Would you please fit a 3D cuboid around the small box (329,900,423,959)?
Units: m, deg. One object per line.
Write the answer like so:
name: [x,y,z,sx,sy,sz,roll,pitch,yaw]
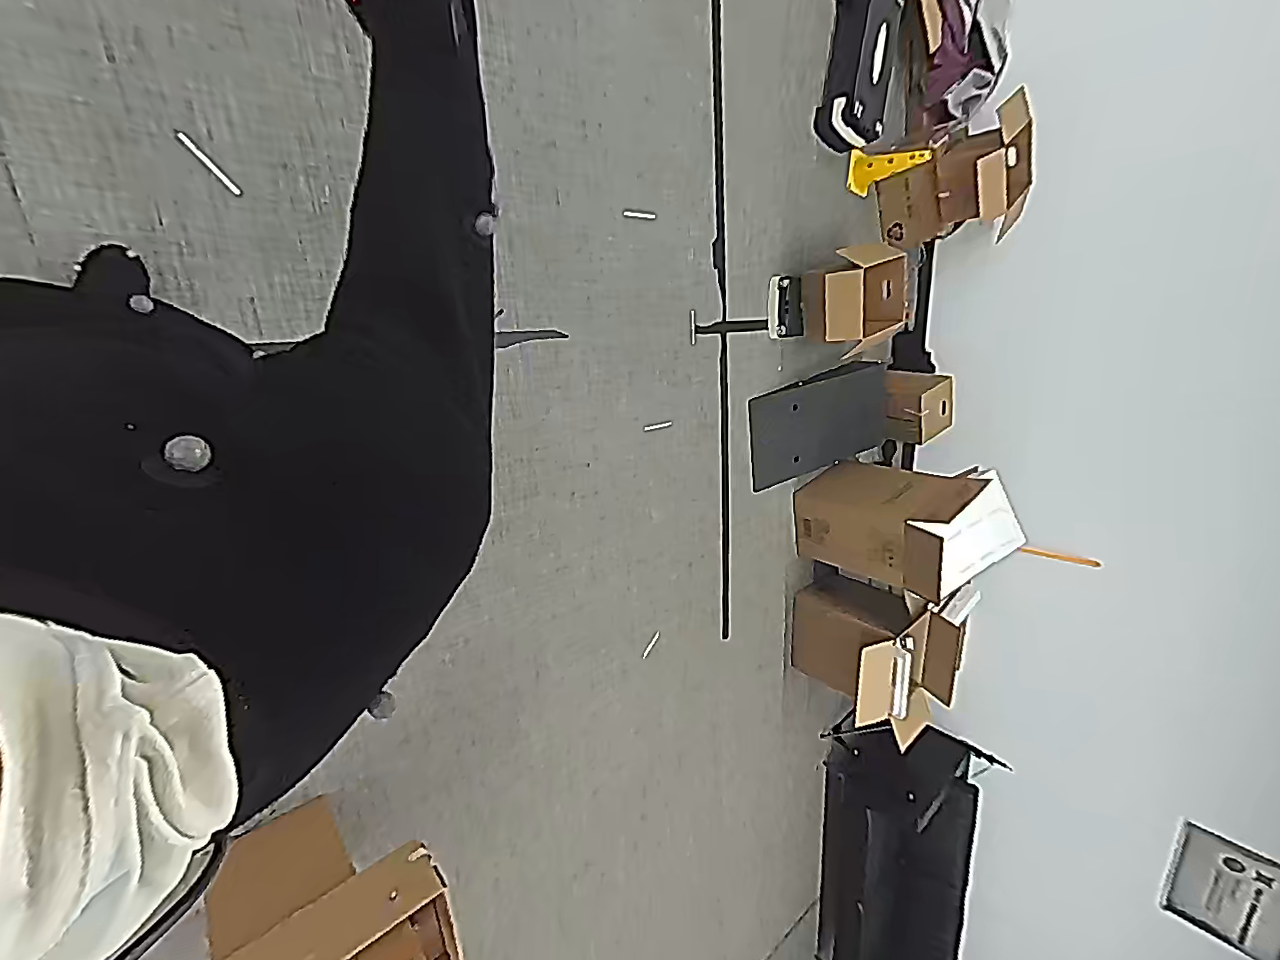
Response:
small box: [-0.637,1.195,1.317,0.179,0.176,0.168,-23,117,-38]
